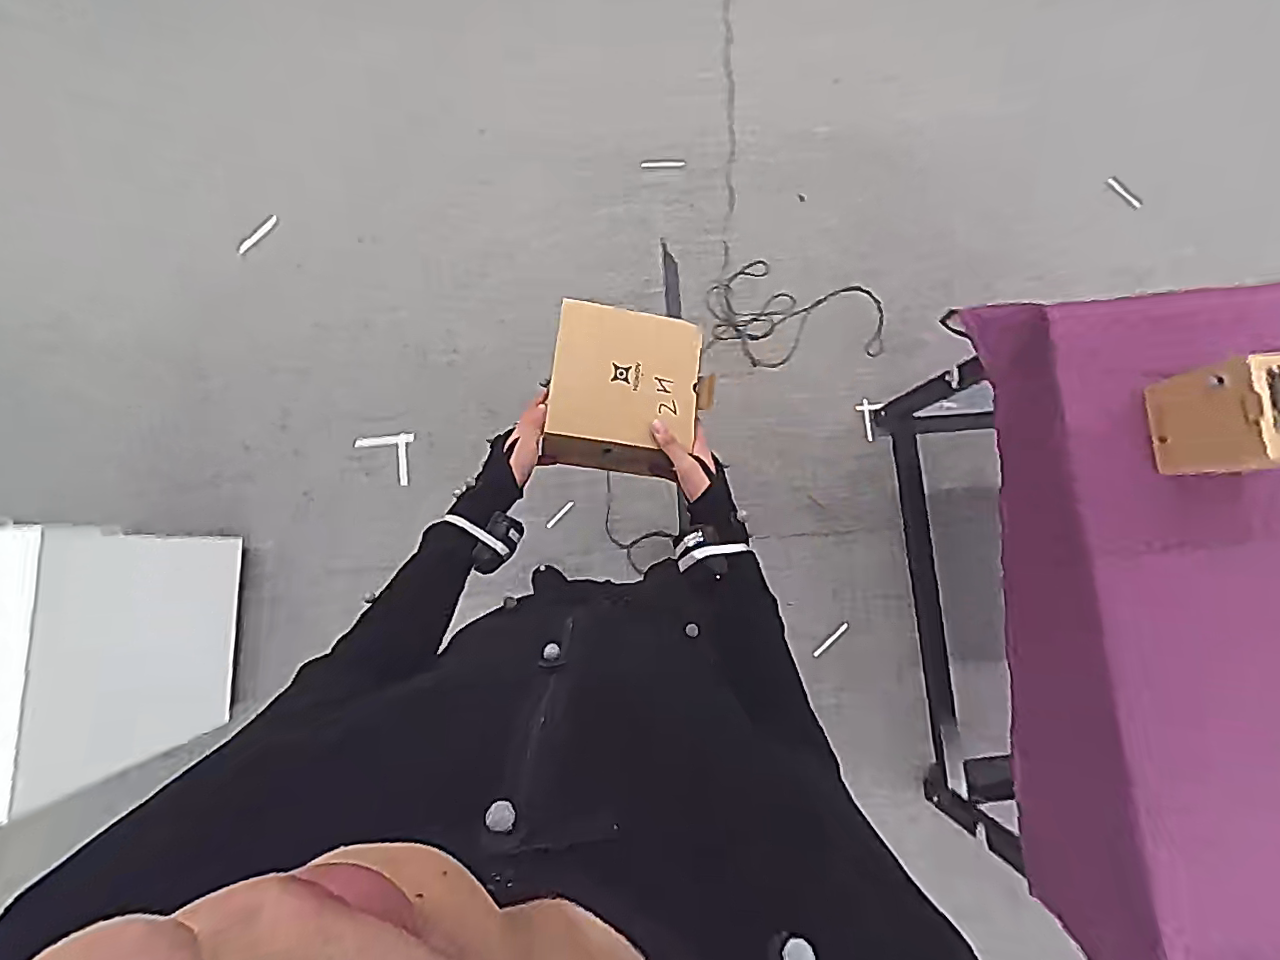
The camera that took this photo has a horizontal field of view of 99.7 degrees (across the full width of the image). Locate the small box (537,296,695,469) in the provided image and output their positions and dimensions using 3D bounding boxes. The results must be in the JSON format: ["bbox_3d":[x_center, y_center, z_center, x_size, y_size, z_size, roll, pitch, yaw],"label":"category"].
[{"bbox_3d":[-0.039,-0.114,0.708,0.179,0.176,0.168,7,80,-11],"label":"small box"}]
